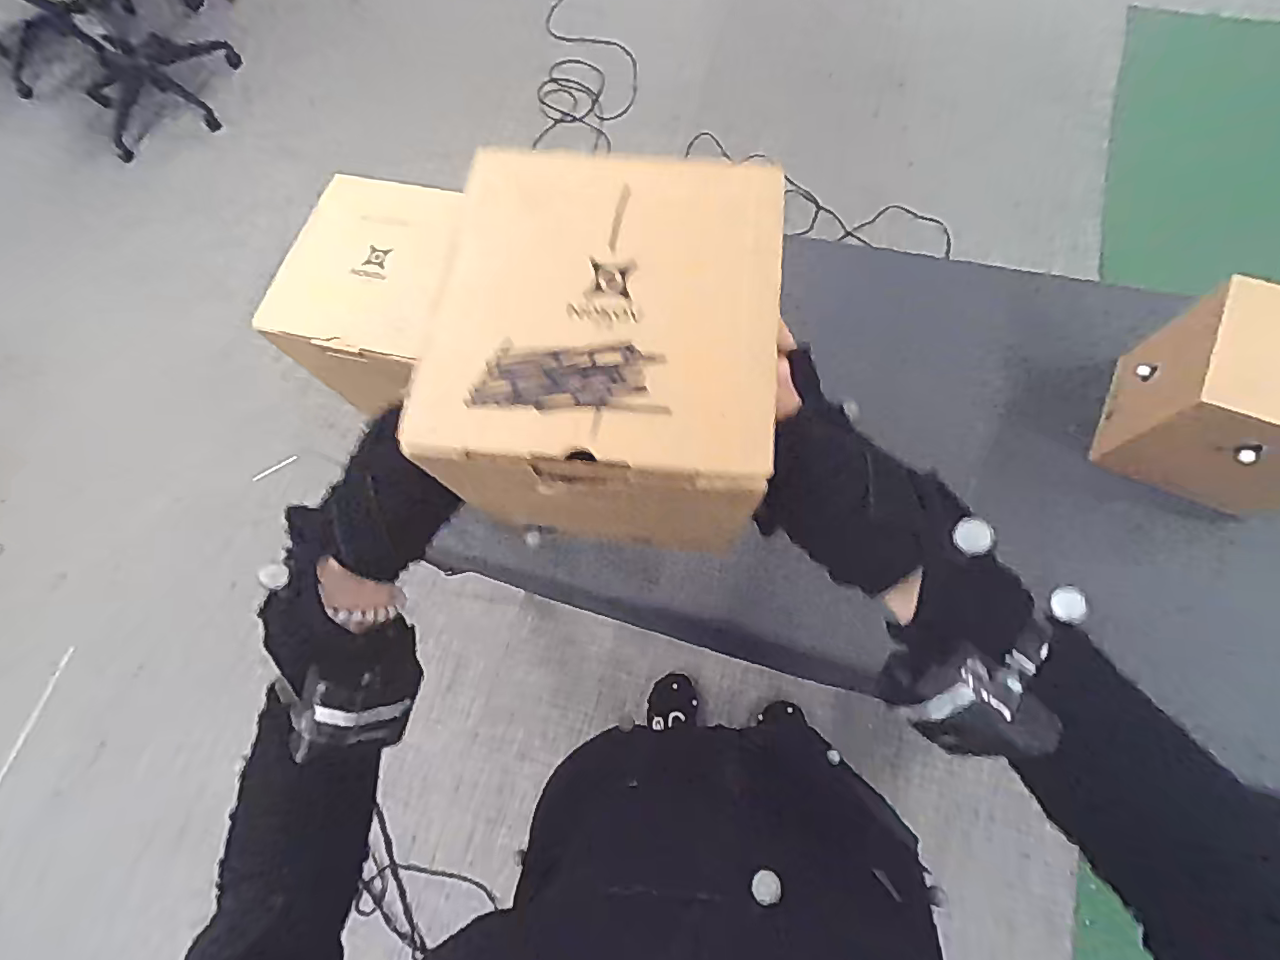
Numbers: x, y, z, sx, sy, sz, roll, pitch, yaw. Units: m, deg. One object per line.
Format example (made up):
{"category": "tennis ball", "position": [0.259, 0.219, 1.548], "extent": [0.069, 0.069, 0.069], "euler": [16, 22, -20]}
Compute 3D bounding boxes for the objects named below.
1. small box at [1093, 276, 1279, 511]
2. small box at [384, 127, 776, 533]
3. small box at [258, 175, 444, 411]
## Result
{"category": "small box", "position": [0.661, -0.084, 0.598], "extent": [0.179, 0.176, 0.168], "euler": [26, 76, 14]}
{"category": "small box", "position": [-0.019, -0.072, 0.330], "extent": [0.168, 0.176, 0.179], "euler": [6, 73, 4]}
{"category": "small box", "position": [-0.219, -0.163, 0.546], "extent": [0.168, 0.176, 0.179], "euler": [14, 72, 9]}
